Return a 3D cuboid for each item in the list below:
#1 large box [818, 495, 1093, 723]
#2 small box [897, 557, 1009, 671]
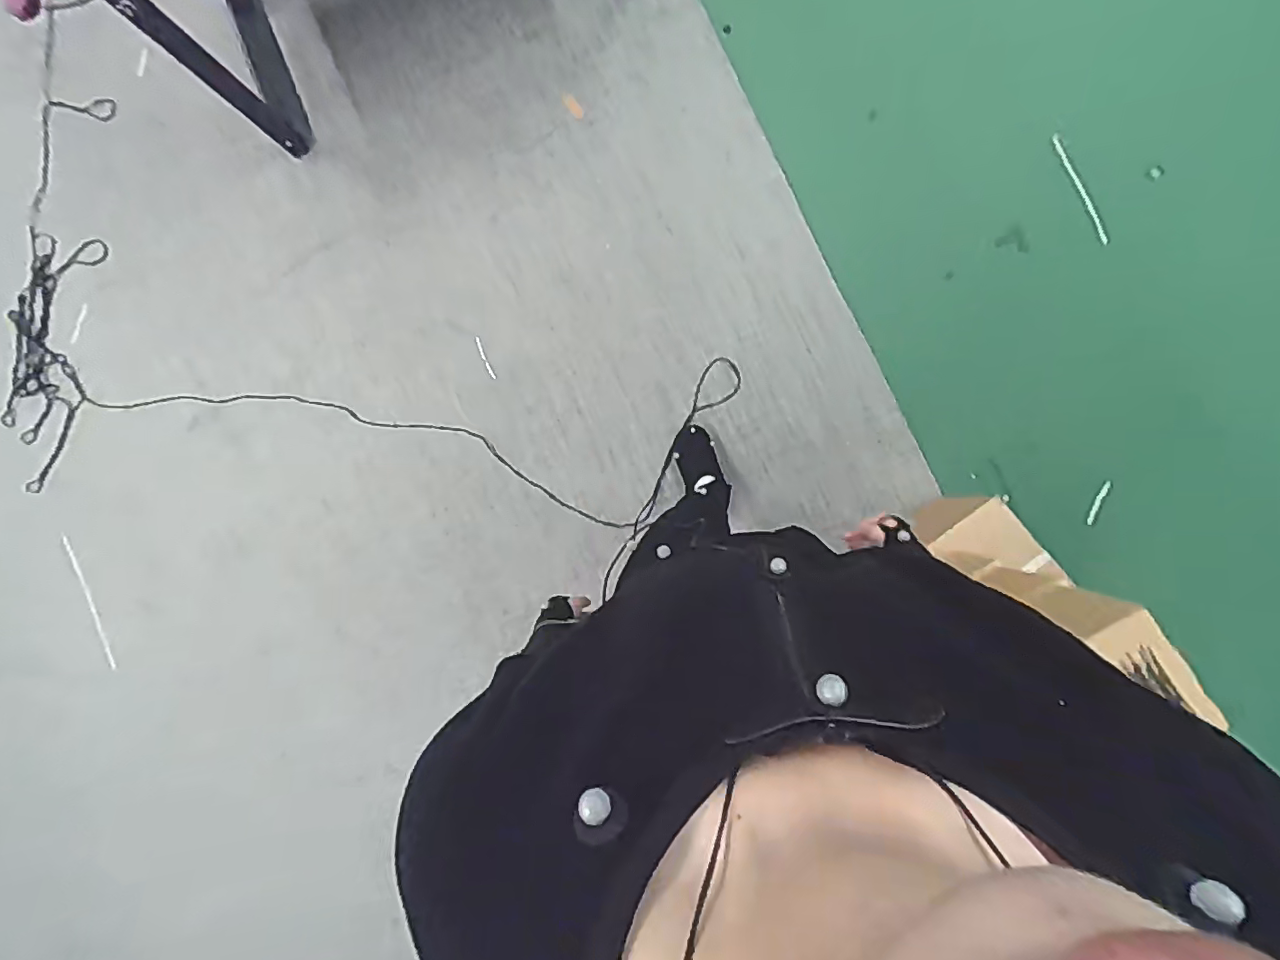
[{"bbox_3d":[0.704,0.280,1.285,0.408,0.320,0.320,-38,85,3],"label":"large box"},{"bbox_3d":[0.636,0.262,1.046,0.168,0.176,0.179,-33,84,5],"label":"small box"}]
